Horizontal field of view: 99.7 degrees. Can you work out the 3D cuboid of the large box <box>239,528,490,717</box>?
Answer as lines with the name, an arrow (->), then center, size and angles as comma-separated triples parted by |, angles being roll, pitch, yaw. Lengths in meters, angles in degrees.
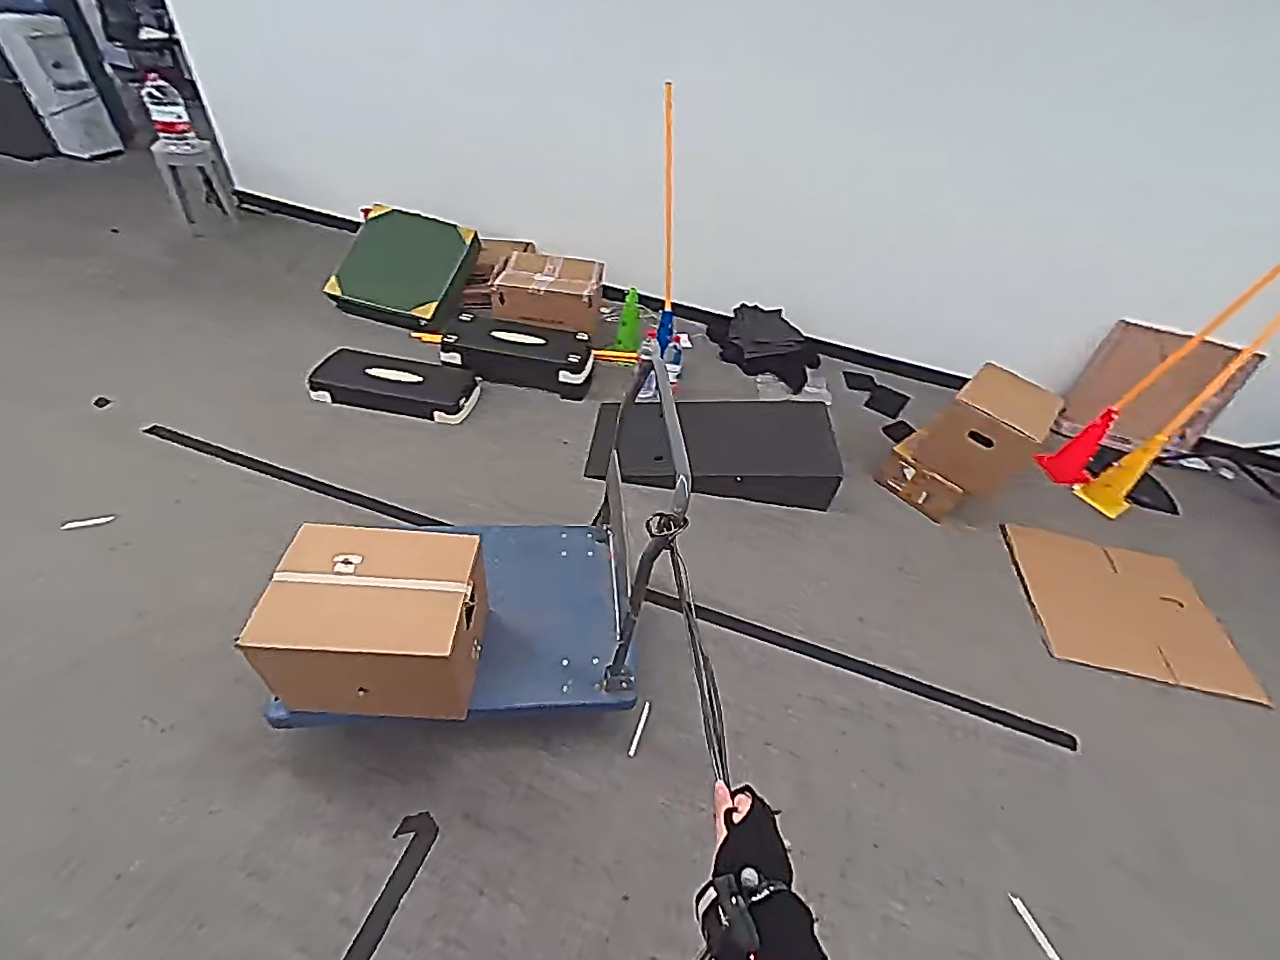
large box -> -0.584, 0.335, 1.253 | 0.408, 0.320, 0.320 | 4, 43, -5
